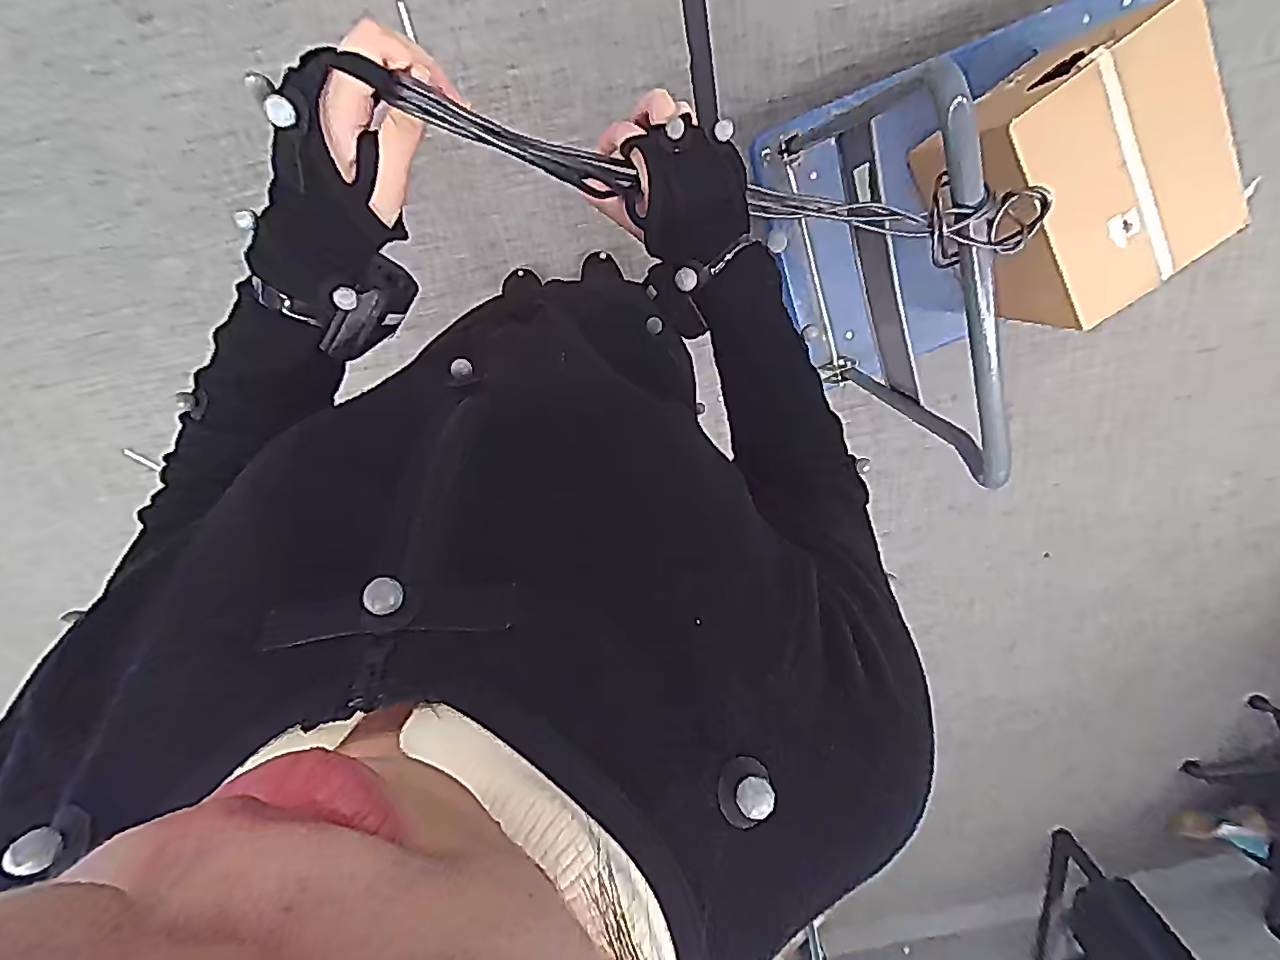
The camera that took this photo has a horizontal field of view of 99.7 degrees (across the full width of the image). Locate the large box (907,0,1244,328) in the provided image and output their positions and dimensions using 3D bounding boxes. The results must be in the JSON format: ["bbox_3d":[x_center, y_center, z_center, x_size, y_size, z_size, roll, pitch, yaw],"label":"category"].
[{"bbox_3d":[0.800,-0.563,1.031,0.320,0.320,0.408,-36,112,11],"label":"large box"}]
